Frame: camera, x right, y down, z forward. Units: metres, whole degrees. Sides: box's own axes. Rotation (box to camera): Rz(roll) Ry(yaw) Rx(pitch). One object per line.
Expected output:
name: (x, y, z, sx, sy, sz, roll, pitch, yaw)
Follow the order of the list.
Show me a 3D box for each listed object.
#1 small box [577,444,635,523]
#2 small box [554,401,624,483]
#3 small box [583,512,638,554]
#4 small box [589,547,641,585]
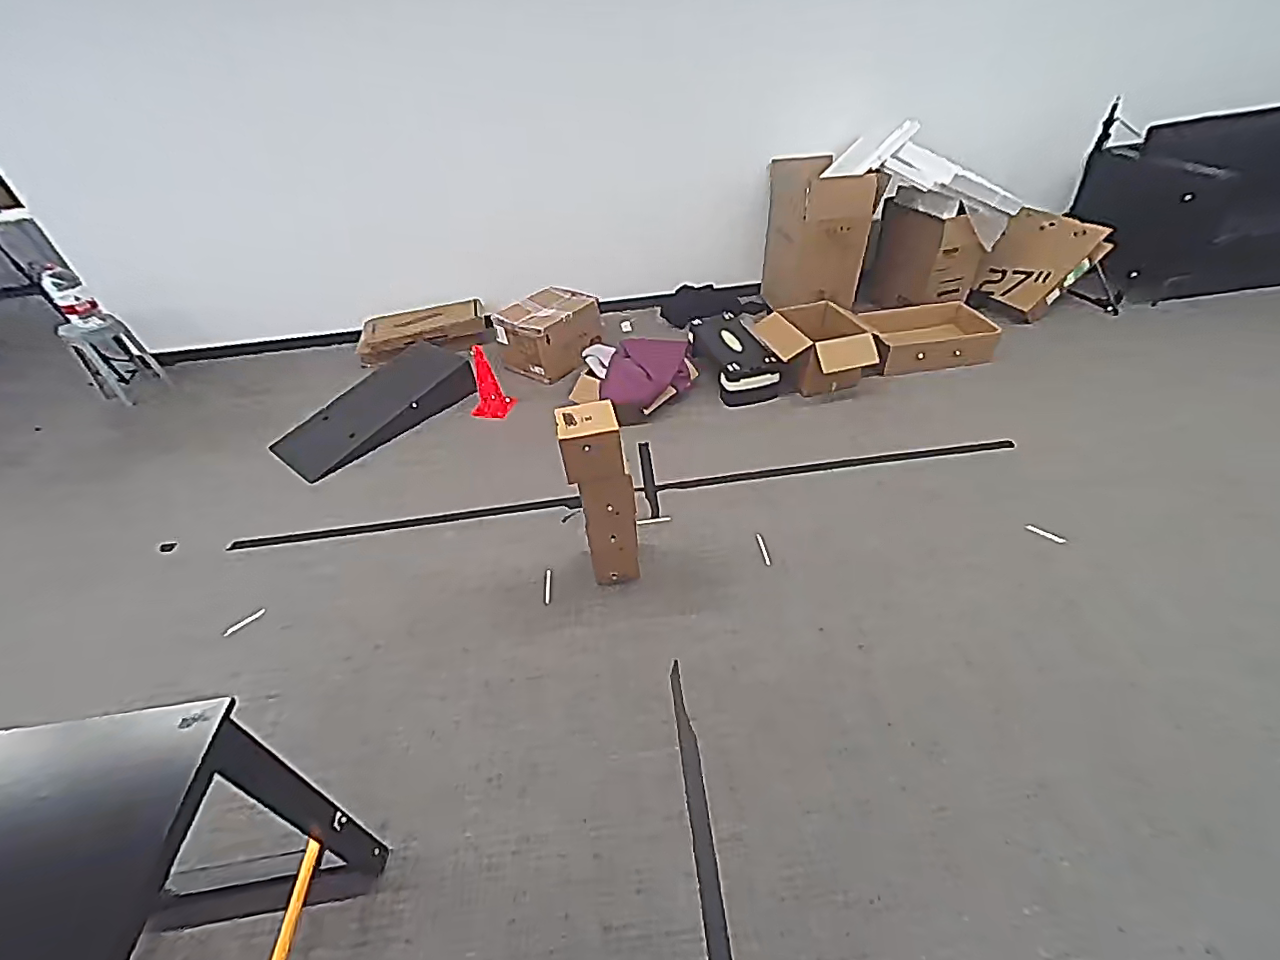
small box: (-0.117, 0.010, 1.725, 0.168, 0.176, 0.179, -13, 40, -5)
small box: (-0.152, -0.111, 1.617, 0.179, 0.176, 0.168, -11, 40, -5)
small box: (-0.102, 0.136, 1.832, 0.168, 0.176, 0.179, -9, 41, -2)
small box: (-0.094, 0.250, 1.950, 0.168, 0.176, 0.179, -10, 41, -2)
